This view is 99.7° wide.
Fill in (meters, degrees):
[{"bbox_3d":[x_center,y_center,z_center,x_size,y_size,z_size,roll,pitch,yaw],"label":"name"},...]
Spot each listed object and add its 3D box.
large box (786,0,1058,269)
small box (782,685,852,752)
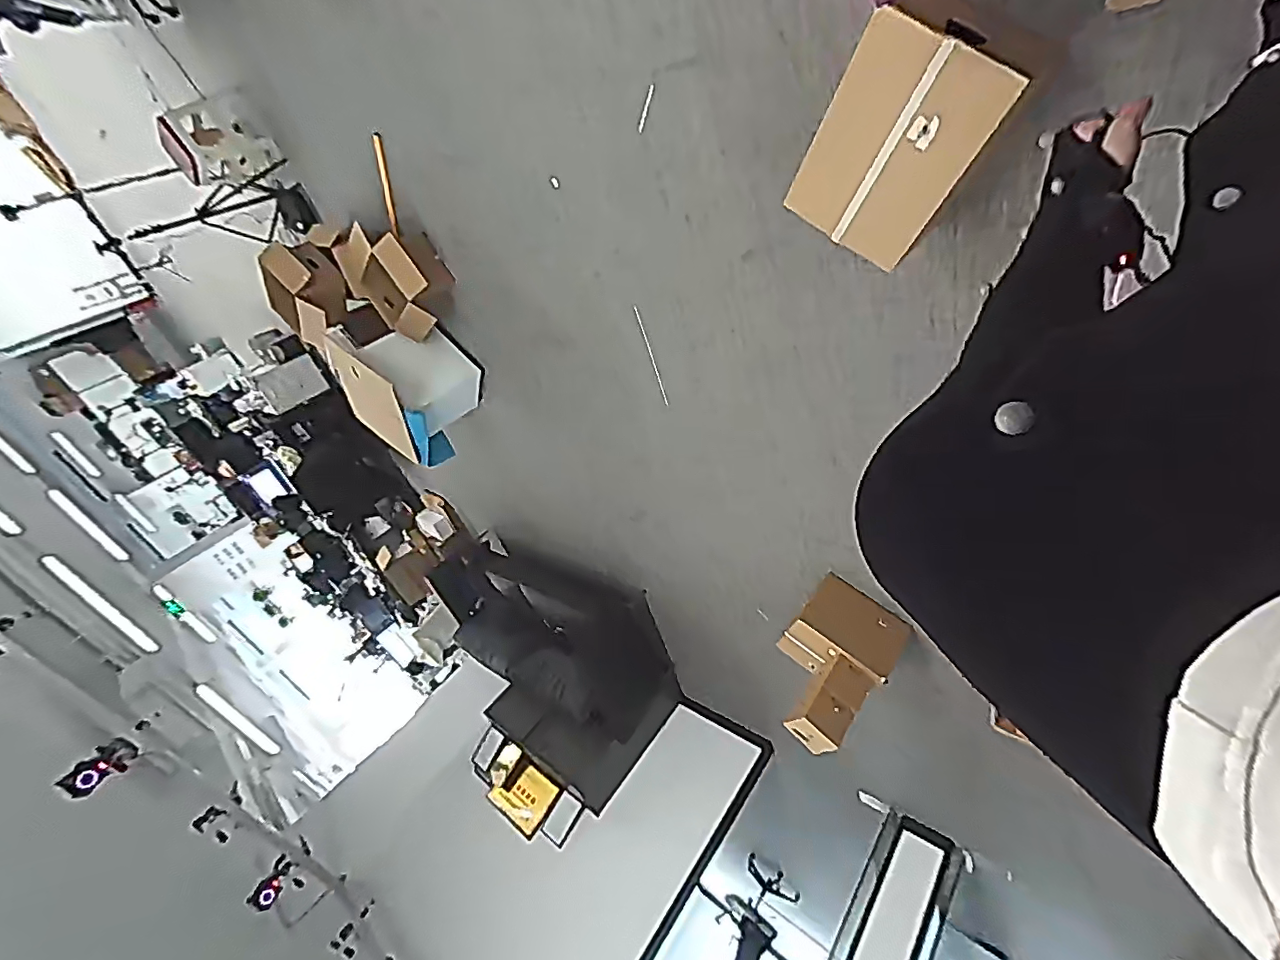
[{"bbox_3d":[0.600,-0.767,1.198,0.320,0.320,0.408,39,146,11],"label":"large box"},{"bbox_3d":[0.705,0.944,2.143,0.168,0.176,0.179,41,145,10],"label":"small box"}]
